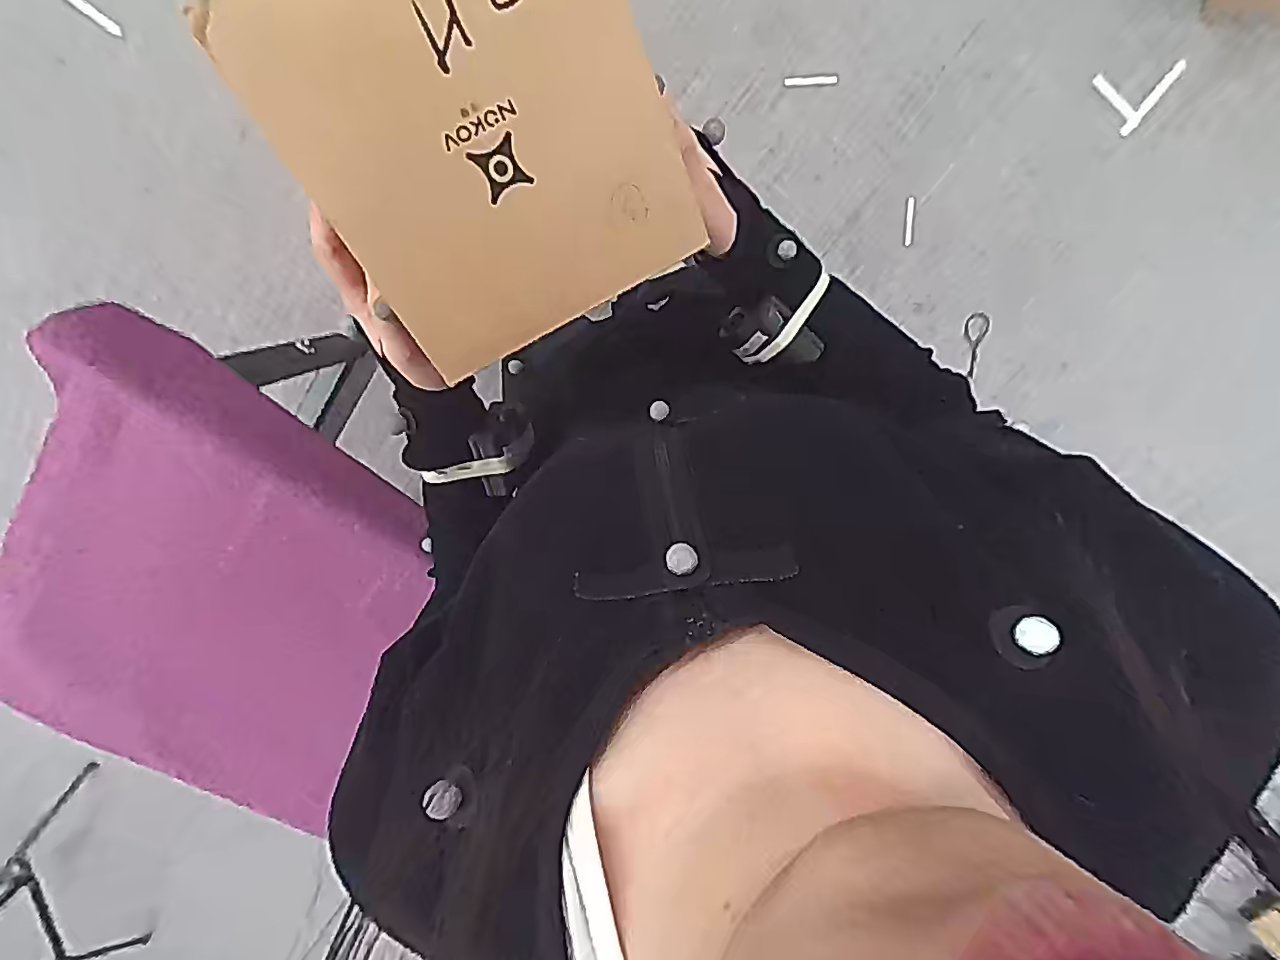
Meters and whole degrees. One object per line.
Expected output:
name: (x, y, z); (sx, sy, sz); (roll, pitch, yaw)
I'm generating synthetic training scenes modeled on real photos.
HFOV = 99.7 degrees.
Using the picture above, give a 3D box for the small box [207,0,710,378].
small box: (-0.084, -0.195, 0.321); (0.168, 0.176, 0.179); (-28, 123, 0)
